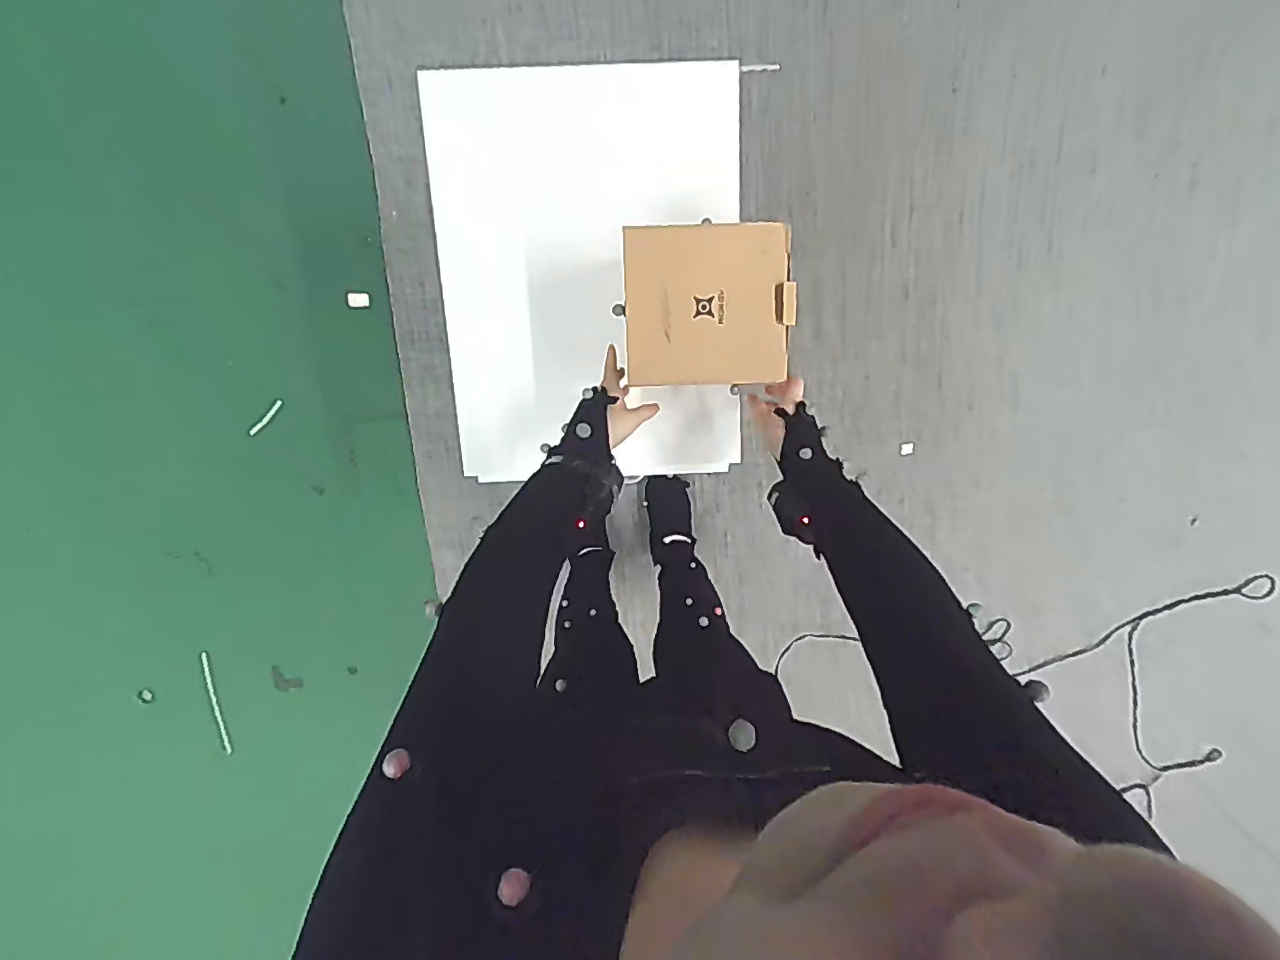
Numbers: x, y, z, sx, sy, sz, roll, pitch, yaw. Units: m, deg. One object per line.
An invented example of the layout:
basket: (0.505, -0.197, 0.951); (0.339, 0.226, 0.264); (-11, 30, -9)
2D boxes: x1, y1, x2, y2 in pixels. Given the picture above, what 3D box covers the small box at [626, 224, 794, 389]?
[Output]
small box: (0.073, -0.198, 0.650); (0.179, 0.176, 0.168); (-2, 101, 0)
